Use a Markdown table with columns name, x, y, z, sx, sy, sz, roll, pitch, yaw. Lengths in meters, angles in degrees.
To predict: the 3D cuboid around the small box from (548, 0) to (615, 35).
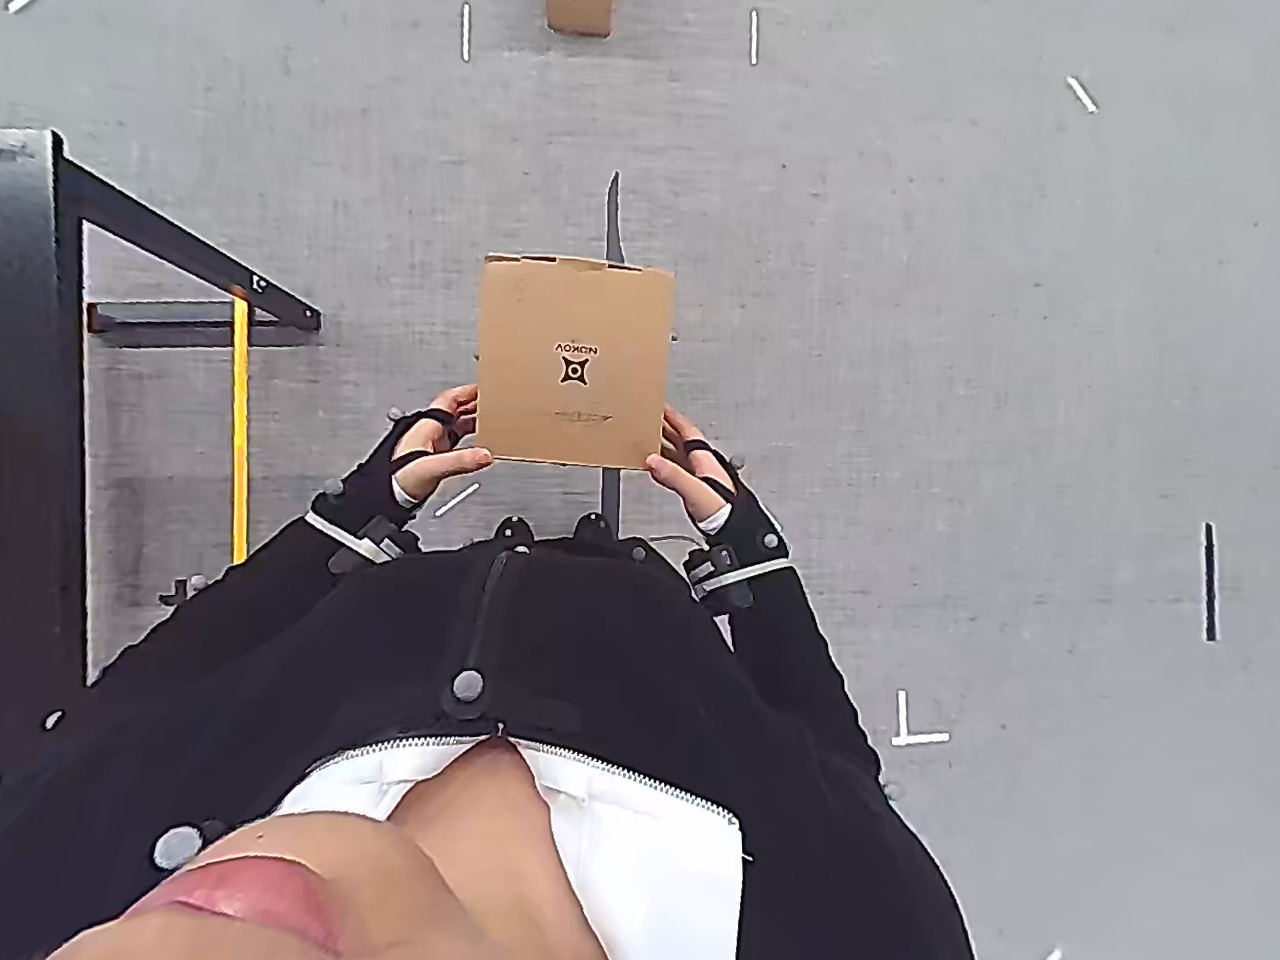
| name | x | y | z | sx | sy | sz | roll | pitch | yaw |
| --- | --- | --- | --- | --- | --- | --- | --- | --- | --- |
| small box | -0.150 | -1.314 | 1.410 | 0.179 | 0.176 | 0.168 | 4 | 90 | -6 |
